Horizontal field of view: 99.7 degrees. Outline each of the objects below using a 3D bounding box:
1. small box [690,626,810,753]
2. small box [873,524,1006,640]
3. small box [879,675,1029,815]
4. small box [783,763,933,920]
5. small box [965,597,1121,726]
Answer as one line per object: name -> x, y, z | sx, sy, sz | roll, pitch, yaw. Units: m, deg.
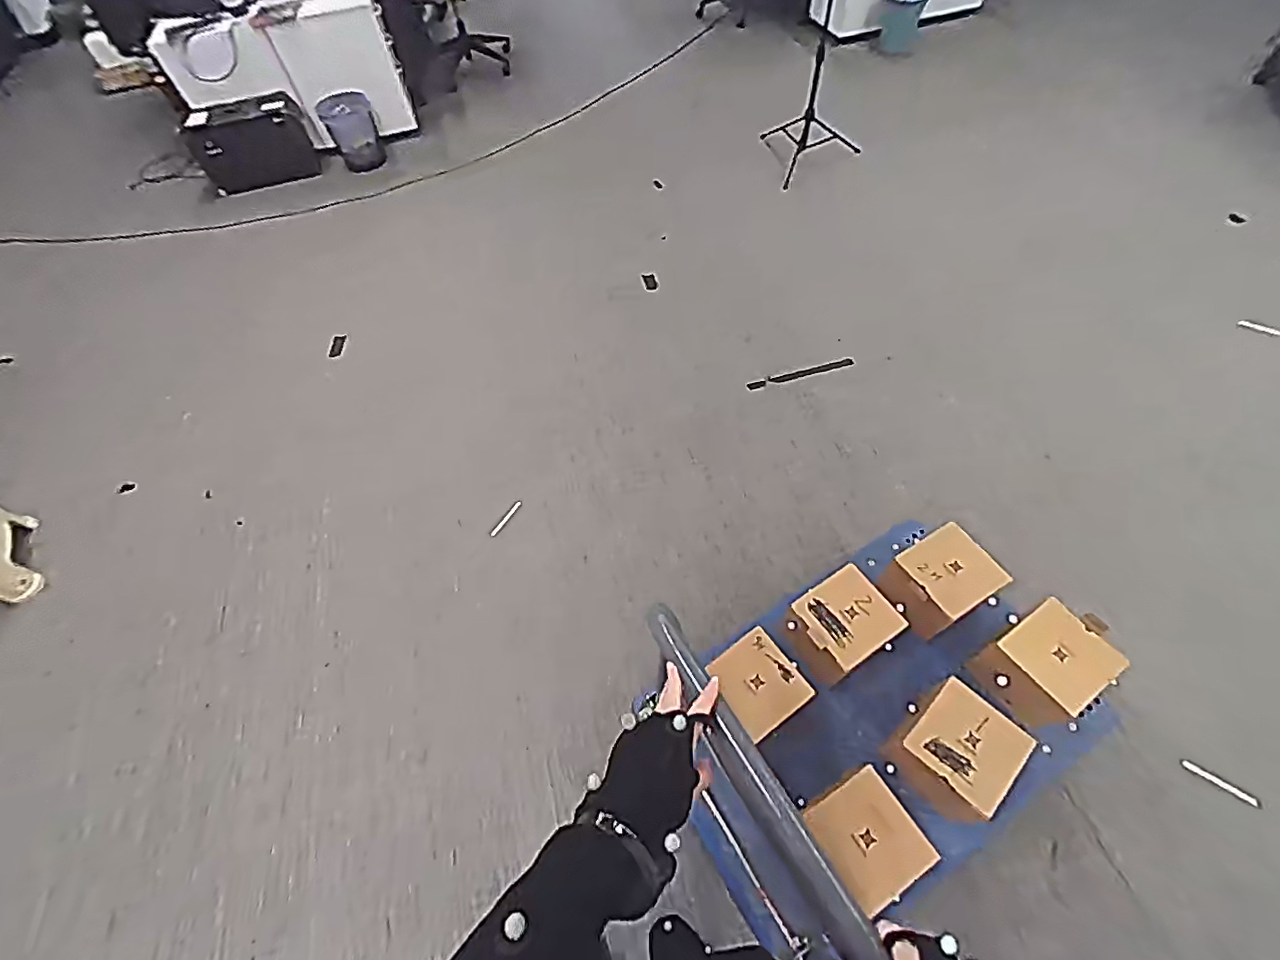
small box -> 0.221, 0.440, 1.124 | 0.179, 0.176, 0.168 | -32, 62, -15
small box -> 0.665, 0.234, 1.224 | 0.179, 0.176, 0.168 | -27, 59, -12
small box -> 0.592, 0.519, 1.048 | 0.179, 0.176, 0.168 | -39, 63, -20
small box -> 0.379, 0.648, 0.981 | 0.179, 0.176, 0.168 | -28, 60, -14
small box -> 0.816, 0.382, 1.121 | 0.179, 0.176, 0.168 | -31, 60, -15
